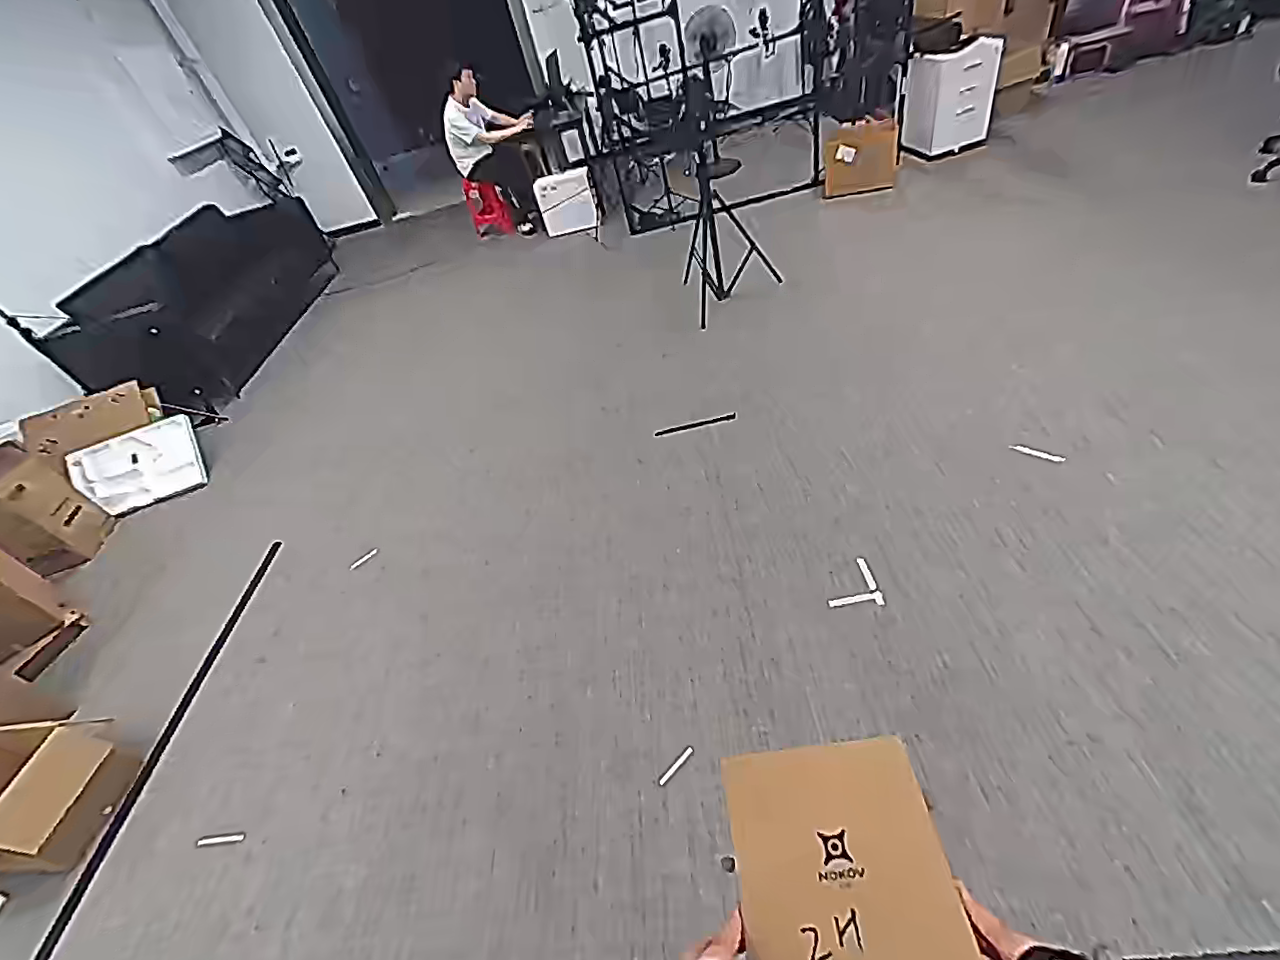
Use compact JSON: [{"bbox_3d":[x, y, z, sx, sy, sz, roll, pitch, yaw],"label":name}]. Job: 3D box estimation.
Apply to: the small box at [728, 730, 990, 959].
[{"bbox_3d":[0.179,0.351,0.489,0.168,0.176,0.179,-11,47,8],"label":"small box"}]
